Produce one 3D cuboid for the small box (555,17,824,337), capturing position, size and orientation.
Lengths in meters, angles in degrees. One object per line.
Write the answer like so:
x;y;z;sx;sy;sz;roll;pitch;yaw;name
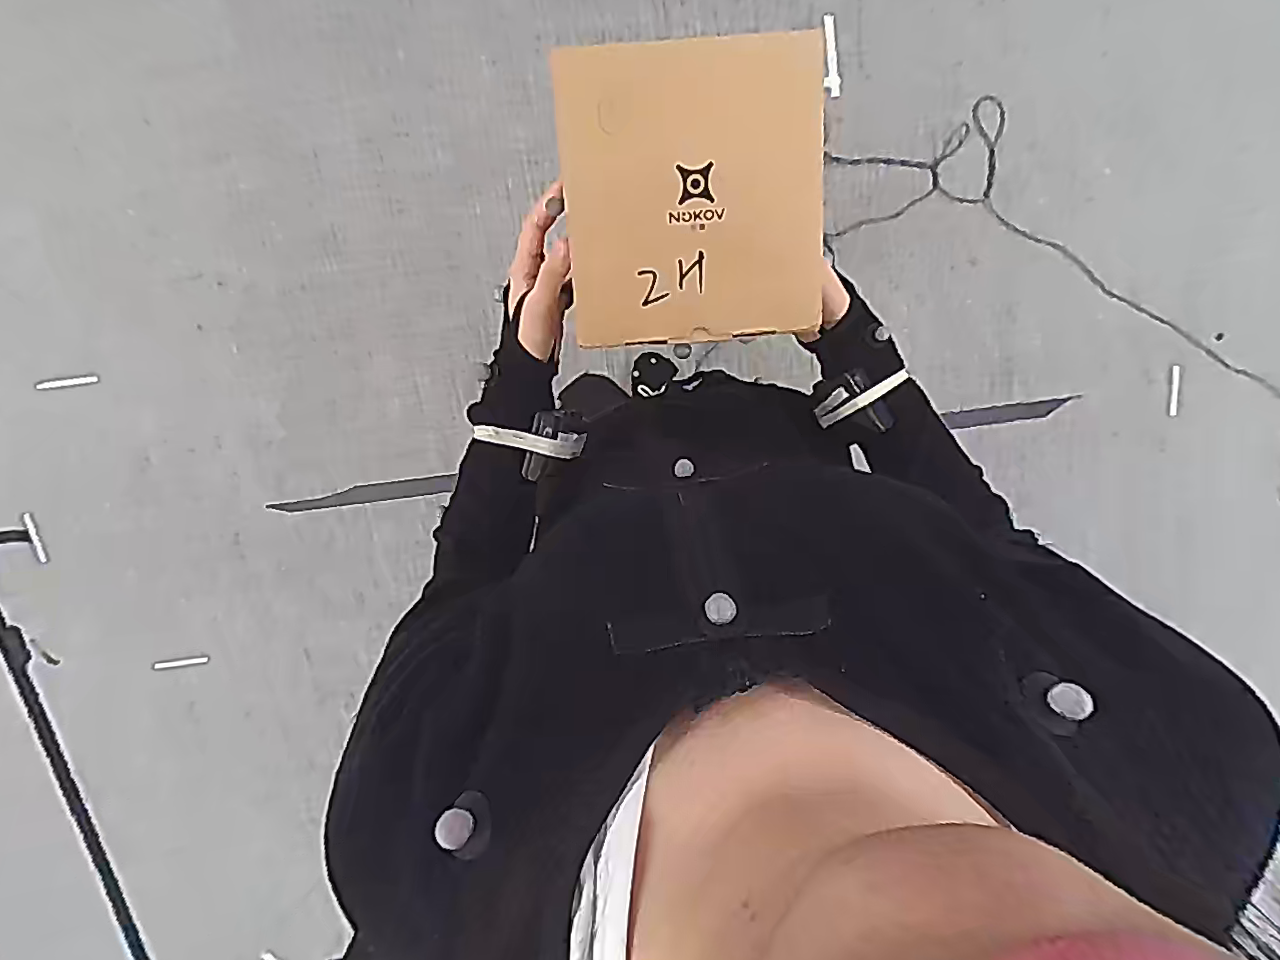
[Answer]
0.032;-0.207;0.420;0.168;0.176;0.179;-5;105;0;small box
